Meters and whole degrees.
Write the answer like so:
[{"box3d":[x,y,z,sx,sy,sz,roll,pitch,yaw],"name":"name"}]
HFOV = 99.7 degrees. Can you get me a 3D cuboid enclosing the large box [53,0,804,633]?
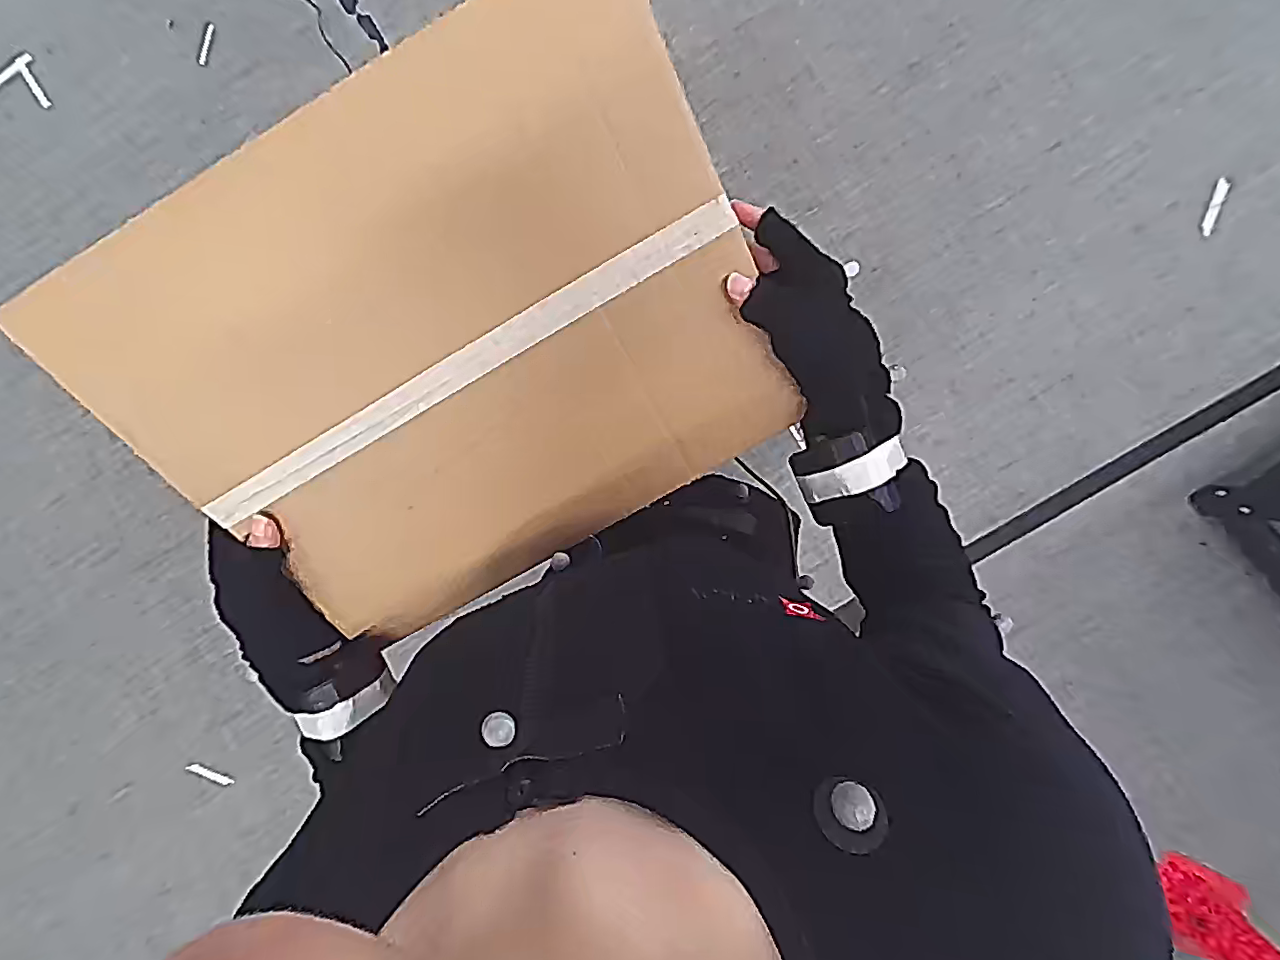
[{"box3d":[-0.135,-0.143,0.502,0.408,0.320,0.320,-29,117,5],"name":"large box"}]
